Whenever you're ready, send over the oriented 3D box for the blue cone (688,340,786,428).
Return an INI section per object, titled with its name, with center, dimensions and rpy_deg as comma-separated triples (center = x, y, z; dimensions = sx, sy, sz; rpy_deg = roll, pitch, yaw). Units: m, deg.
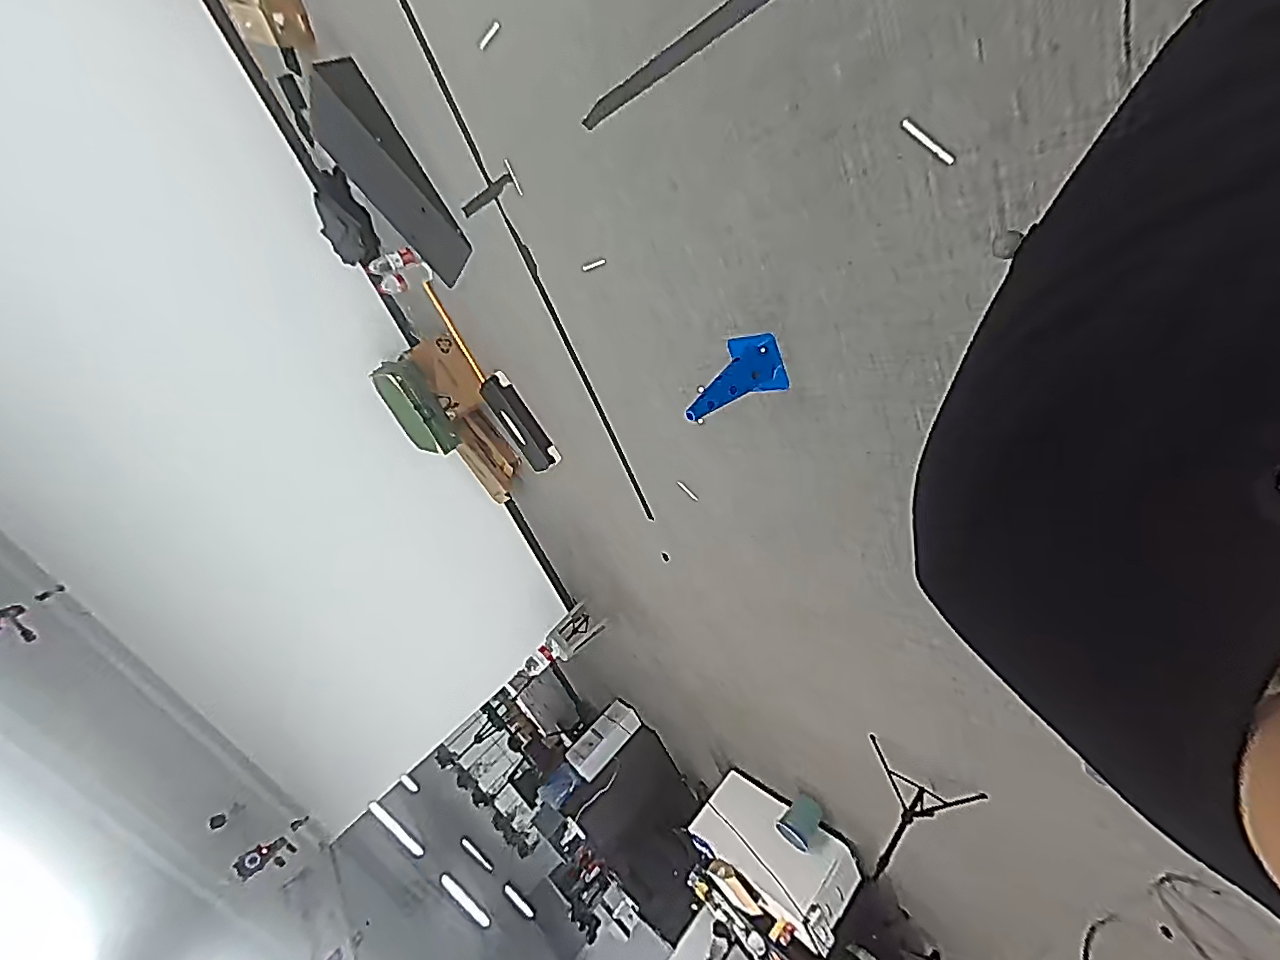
[blue cone]
center = 0.282, -0.287, 1.735
dimensions = 0.193, 0.380, 0.192
rpy_deg = 10, 132, 51
